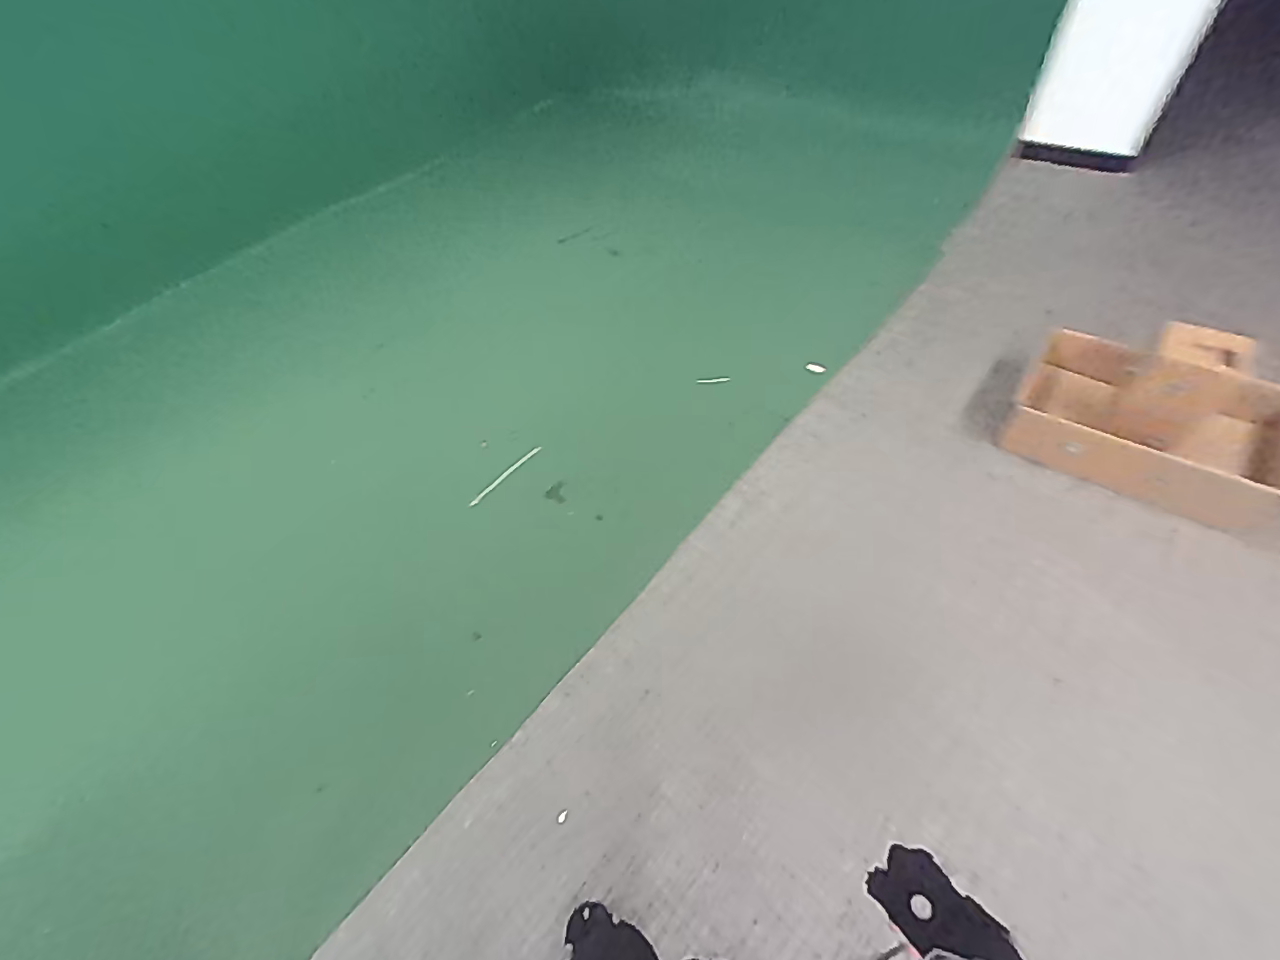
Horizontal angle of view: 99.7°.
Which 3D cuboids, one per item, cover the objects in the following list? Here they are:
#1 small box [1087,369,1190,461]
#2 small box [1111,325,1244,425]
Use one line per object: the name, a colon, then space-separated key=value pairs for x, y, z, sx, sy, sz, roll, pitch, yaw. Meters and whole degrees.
small box: x=1.410 y=-0.183 z=1.526 sx=0.168 sy=0.176 sz=0.179 roll=28 pitch=61 yaw=26
small box: x=1.390 y=-0.267 z=1.406 sx=0.179 sy=0.176 sz=0.168 roll=29 pitch=62 yaw=27
